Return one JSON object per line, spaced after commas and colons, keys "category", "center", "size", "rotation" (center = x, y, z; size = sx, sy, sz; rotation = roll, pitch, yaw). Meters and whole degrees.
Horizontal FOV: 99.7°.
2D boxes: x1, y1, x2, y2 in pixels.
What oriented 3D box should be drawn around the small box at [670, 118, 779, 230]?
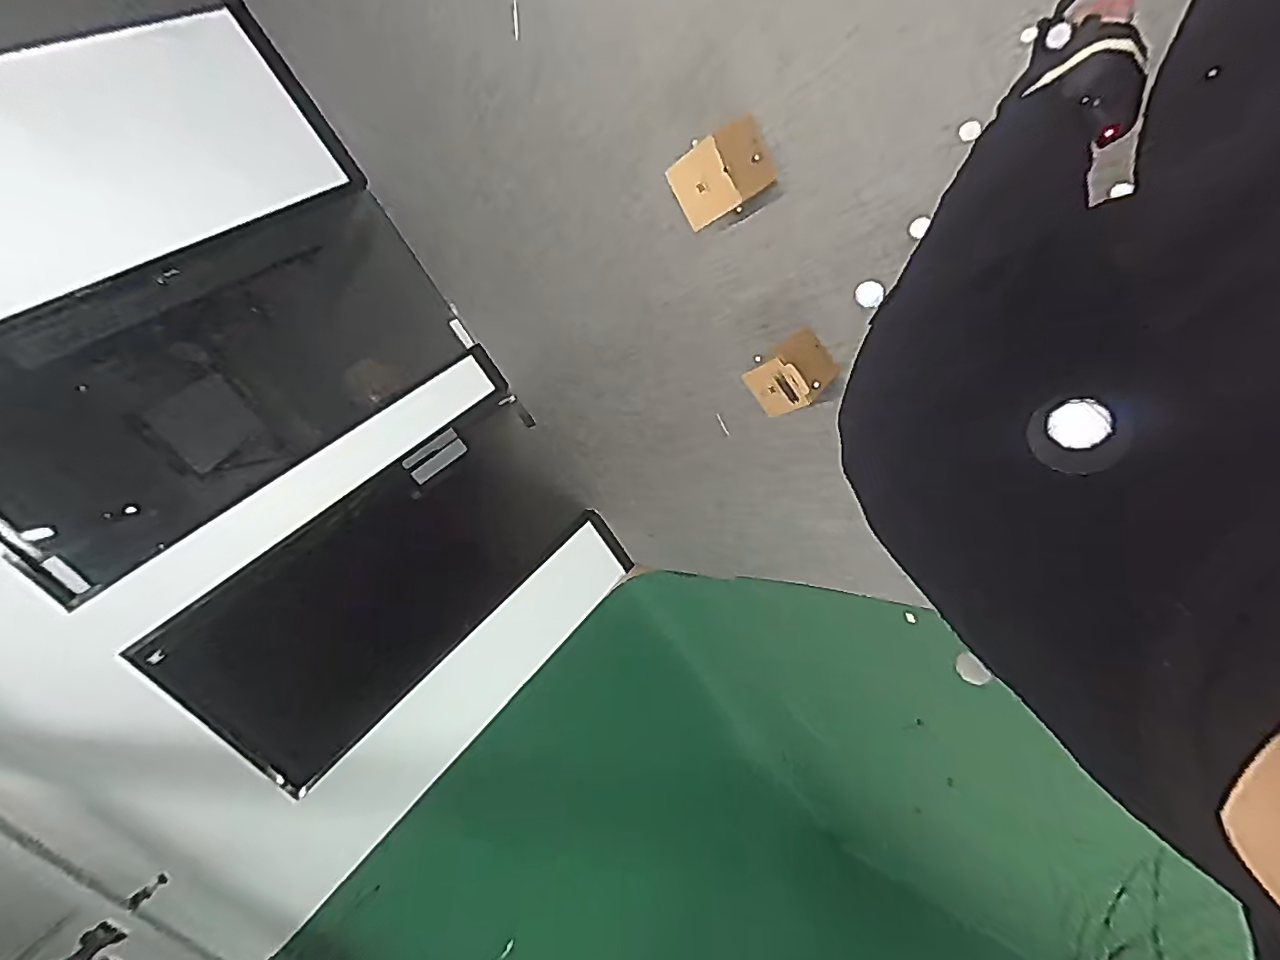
{"category": "small box", "center": [0.215, -0.770, 1.366], "size": [0.179, 0.176, 0.168], "rotation": [-5, 123, 54]}
